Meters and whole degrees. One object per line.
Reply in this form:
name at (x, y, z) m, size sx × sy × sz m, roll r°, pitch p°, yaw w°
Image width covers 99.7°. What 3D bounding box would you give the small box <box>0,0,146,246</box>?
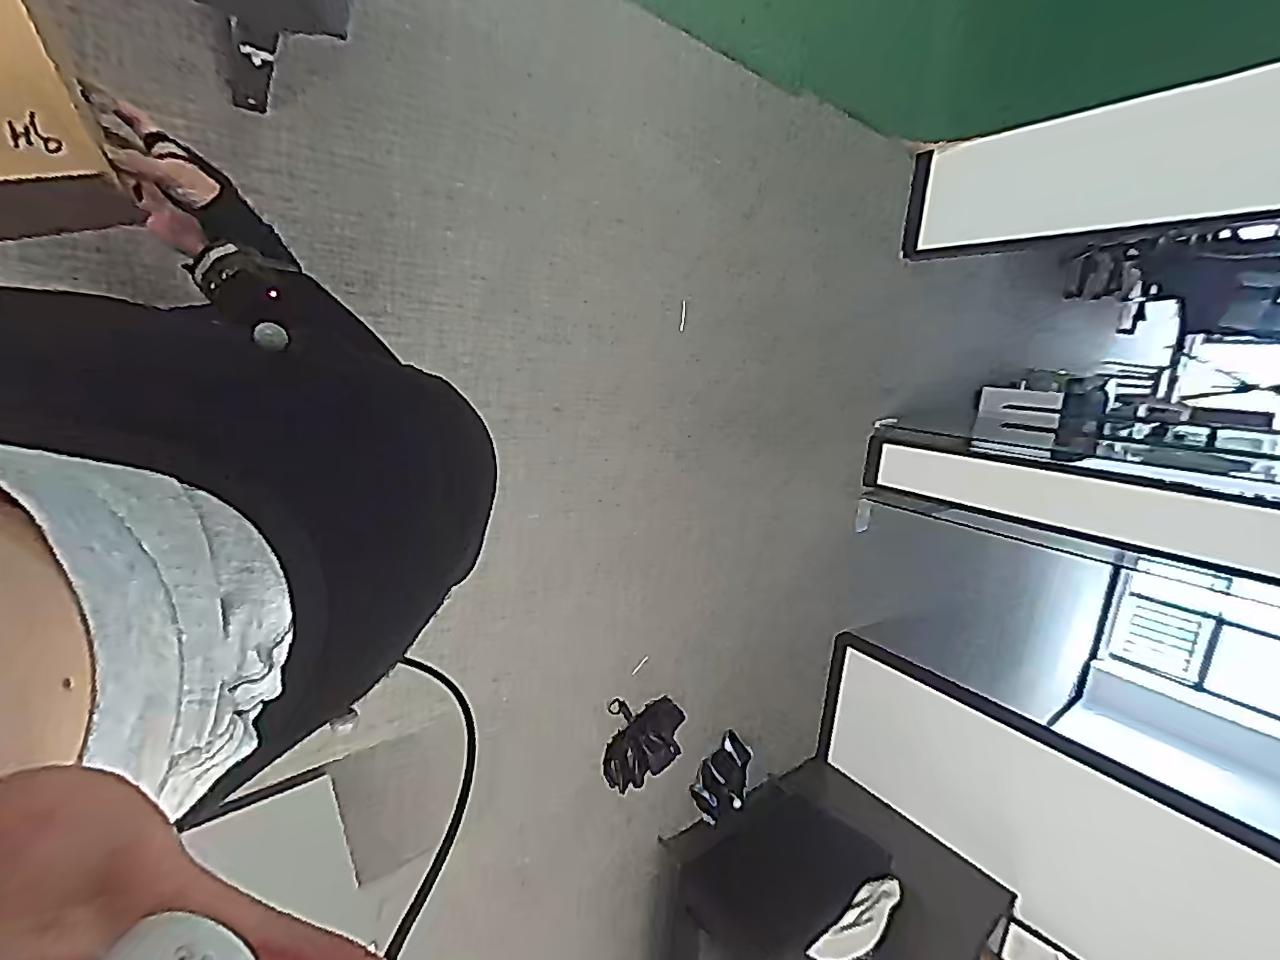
small box at (-0.501, -0.276, 0.380) m, size 0.168 × 0.176 × 0.179 m, roll -25°, pitch 112°, yaw -27°
